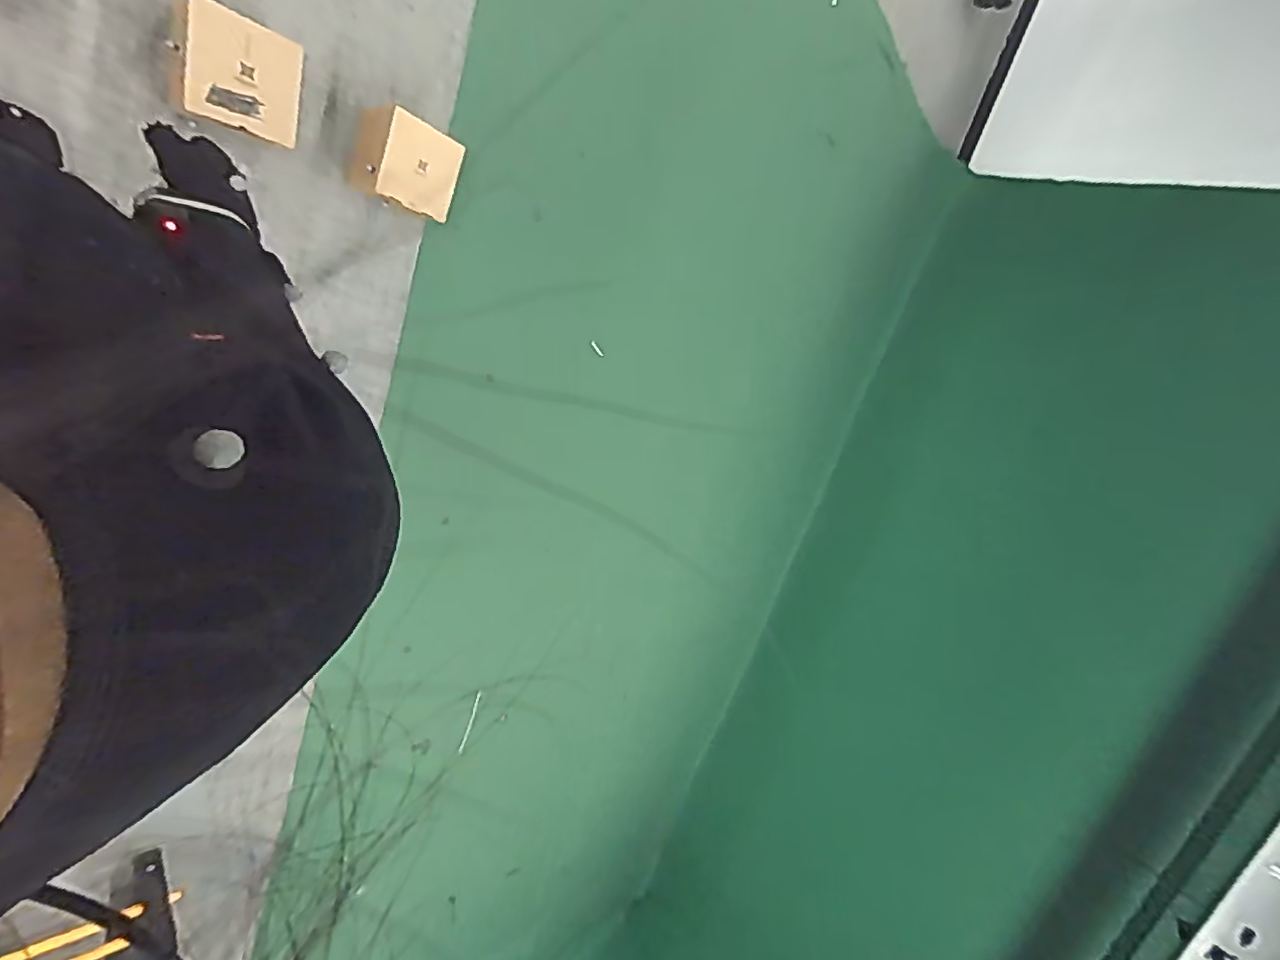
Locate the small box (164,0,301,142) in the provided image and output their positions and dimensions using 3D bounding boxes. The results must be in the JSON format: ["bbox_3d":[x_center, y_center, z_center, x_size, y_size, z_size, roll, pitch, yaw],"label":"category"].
[{"bbox_3d":[-0.748,-0.749,0.990,0.168,0.176,0.179,-2,114,-49],"label":"small box"}]

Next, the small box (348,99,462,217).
[{"bbox_3d":[-0.543,-0.734,1.240,0.168,0.176,0.179,6,109,-50],"label":"small box"}]
